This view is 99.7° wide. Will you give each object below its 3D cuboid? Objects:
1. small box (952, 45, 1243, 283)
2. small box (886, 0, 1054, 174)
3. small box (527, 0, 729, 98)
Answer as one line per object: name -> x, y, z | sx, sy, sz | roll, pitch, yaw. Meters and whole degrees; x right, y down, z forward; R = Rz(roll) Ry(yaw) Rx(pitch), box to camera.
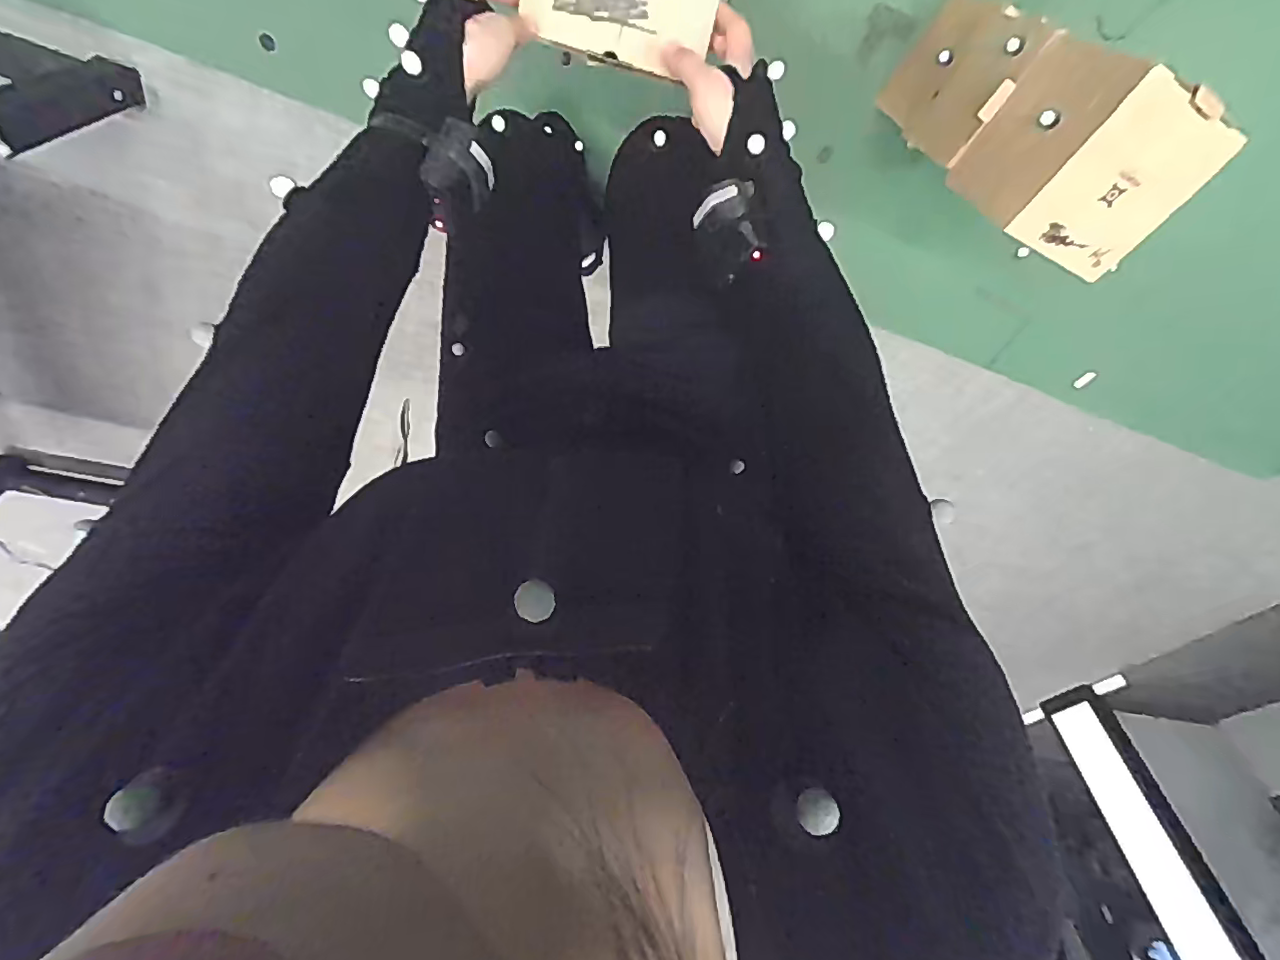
small box -> 0.530, -0.382, 0.655 | 0.168, 0.176, 0.179 | 16, 133, -20
small box -> 0.529, -0.628, 0.874 | 0.168, 0.176, 0.179 | 19, 133, -22
small box -> -0.001, -0.480, 0.497 | 0.168, 0.176, 0.179 | 10, 125, -11
